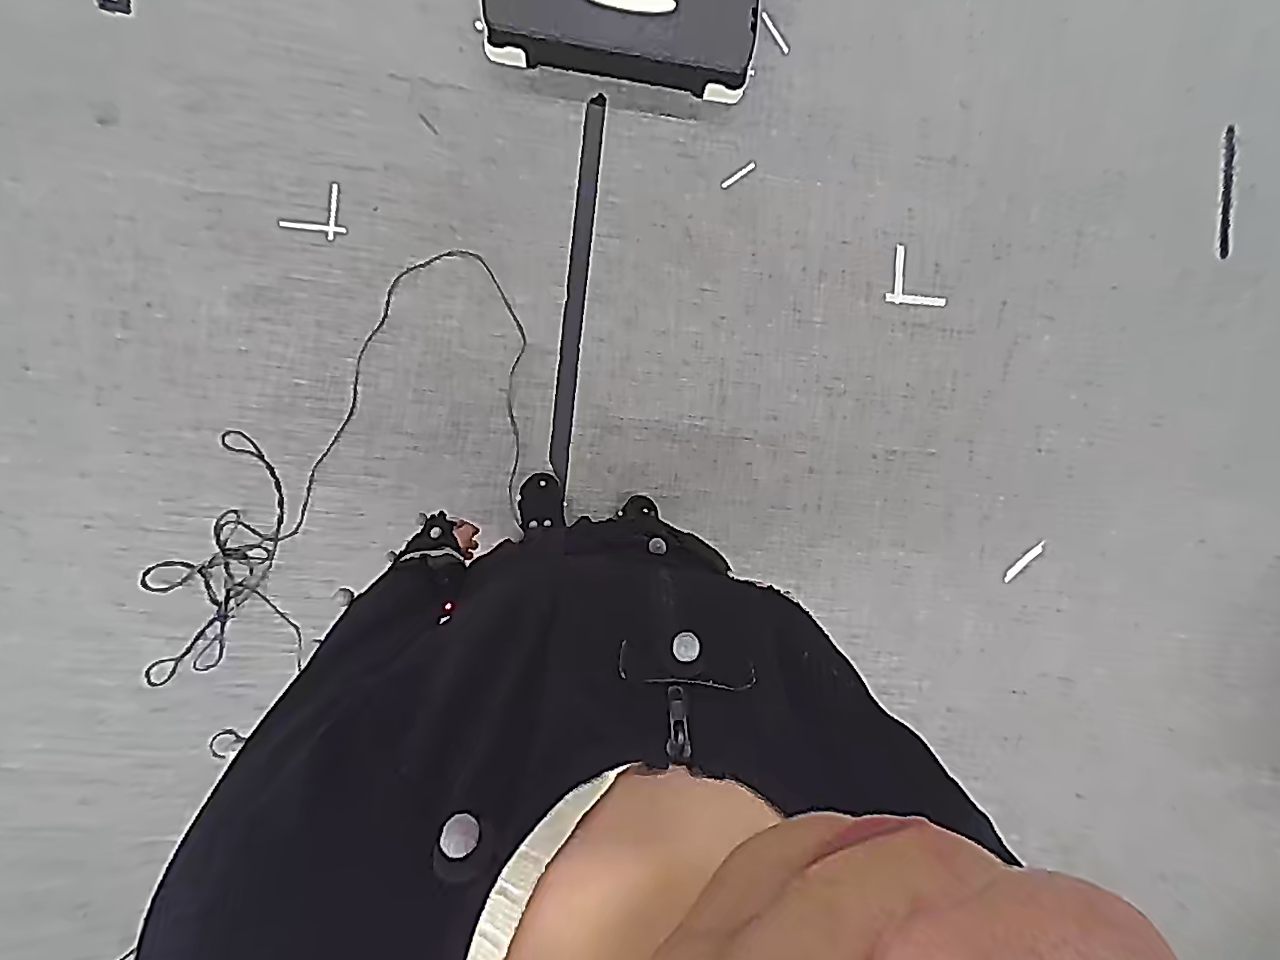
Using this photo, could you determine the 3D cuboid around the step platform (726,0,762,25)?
[{"bbox_3d":[0.018,-1.407,1.335,0.684,0.204,0.286,10,88,-6],"label":"step platform"}]
